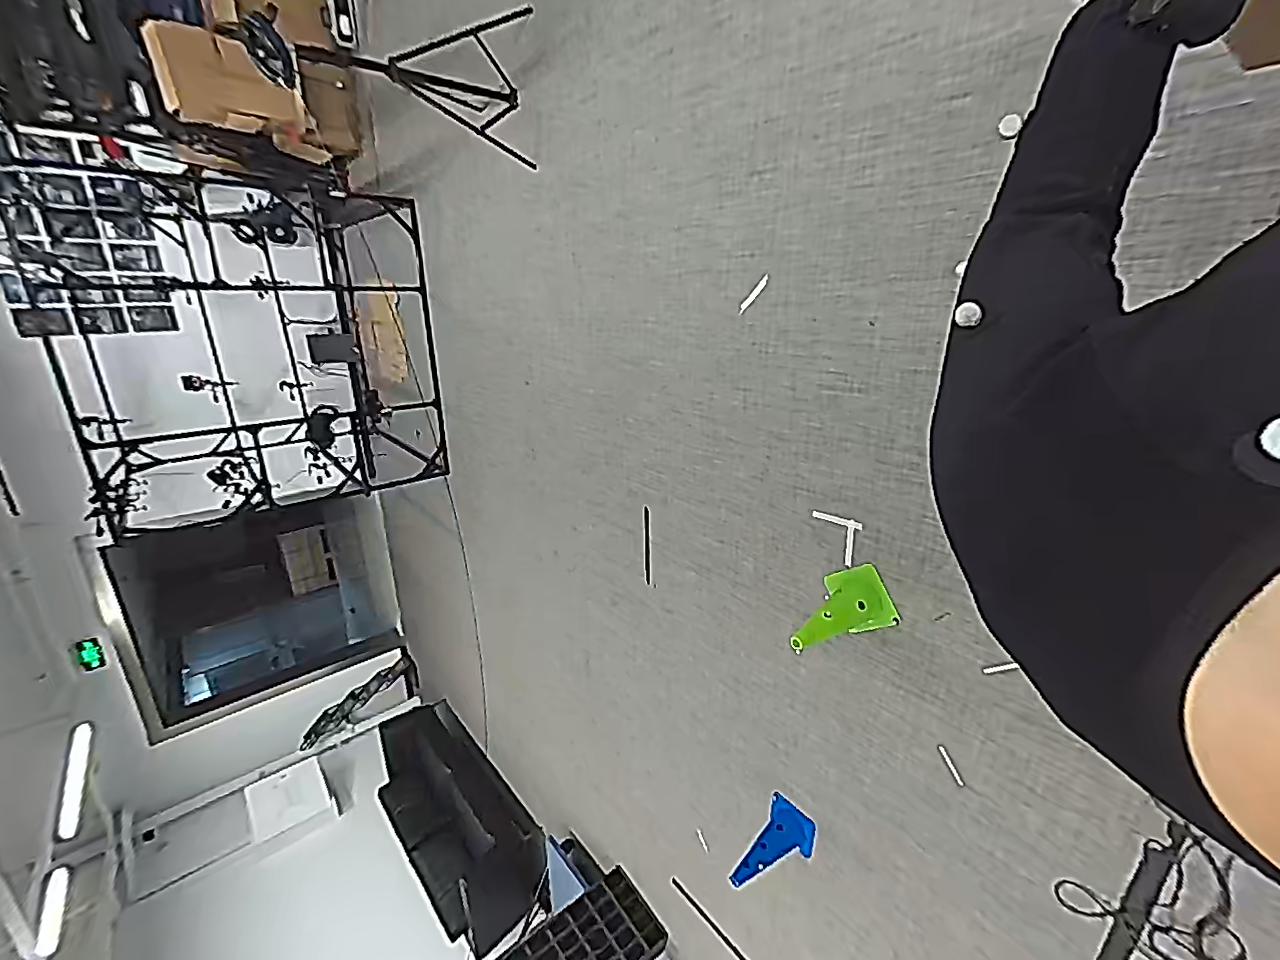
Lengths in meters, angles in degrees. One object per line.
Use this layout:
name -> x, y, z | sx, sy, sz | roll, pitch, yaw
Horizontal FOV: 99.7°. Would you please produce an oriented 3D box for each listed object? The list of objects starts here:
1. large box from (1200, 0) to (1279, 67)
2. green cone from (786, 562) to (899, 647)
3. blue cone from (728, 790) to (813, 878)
large box -> 0.589, -0.464, 0.252 | 0.408, 0.320, 0.320 | 19, 122, 46
green cone -> 0.568, 0.406, 1.622 | 0.202, 0.368, 0.200 | -38, 72, 52
blue cone -> 0.490, 1.424, 2.110 | 0.192, 0.380, 0.193 | 26, 122, 46
